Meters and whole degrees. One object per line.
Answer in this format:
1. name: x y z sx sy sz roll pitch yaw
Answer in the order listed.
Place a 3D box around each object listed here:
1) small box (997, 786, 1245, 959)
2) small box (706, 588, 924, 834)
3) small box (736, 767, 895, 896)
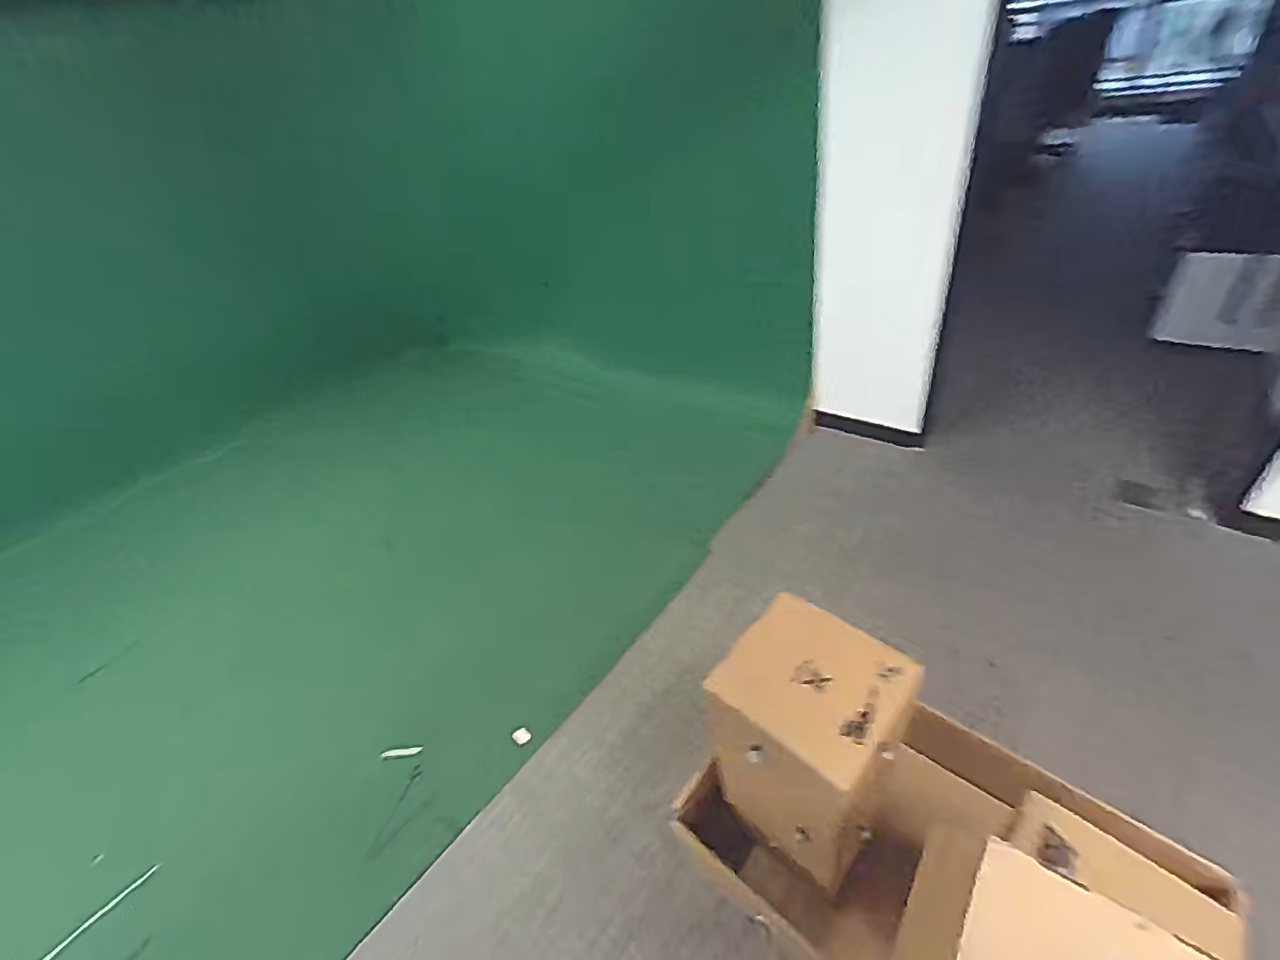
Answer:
1. small box: 0.460 0.478 0.568 0.168 0.176 0.179 -38 46 -28
2. small box: 0.202 0.270 0.641 0.179 0.176 0.168 27 54 39
3. small box: 0.273 0.506 0.855 0.179 0.176 0.168 26 53 37
